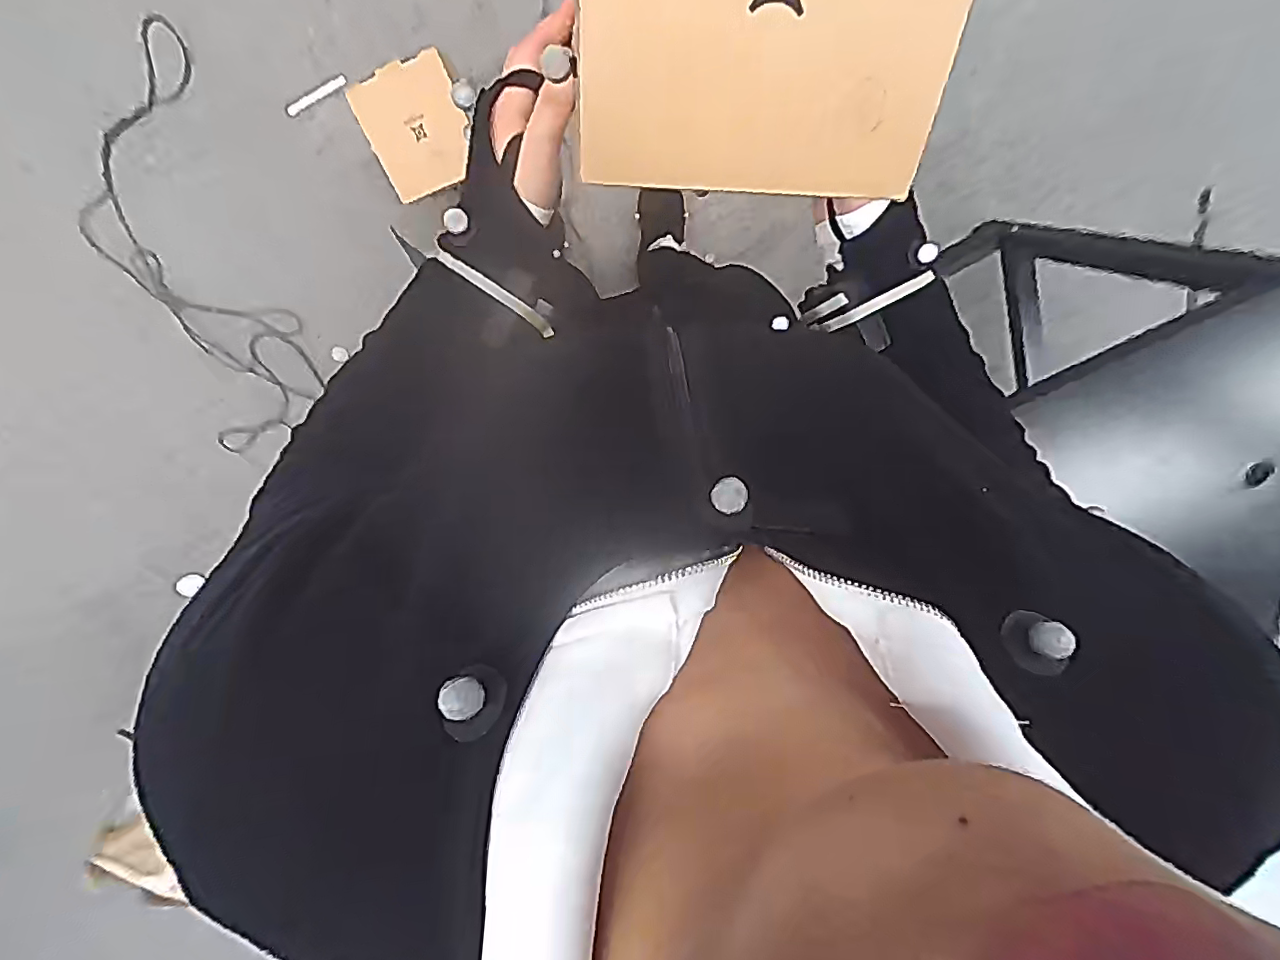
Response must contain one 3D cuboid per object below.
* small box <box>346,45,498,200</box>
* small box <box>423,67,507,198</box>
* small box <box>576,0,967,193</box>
[{"bbox_3d":[-0.368,-0.616,0.950,0.168,0.176,0.179,-21,121,5],"label":"small box"},{"bbox_3d":[-0.389,-0.693,1.092,0.179,0.176,0.168,-24,120,7],"label":"small box"},{"bbox_3d":[0.052,-0.263,0.278,0.168,0.176,0.179,-1,127,-6],"label":"small box"}]
